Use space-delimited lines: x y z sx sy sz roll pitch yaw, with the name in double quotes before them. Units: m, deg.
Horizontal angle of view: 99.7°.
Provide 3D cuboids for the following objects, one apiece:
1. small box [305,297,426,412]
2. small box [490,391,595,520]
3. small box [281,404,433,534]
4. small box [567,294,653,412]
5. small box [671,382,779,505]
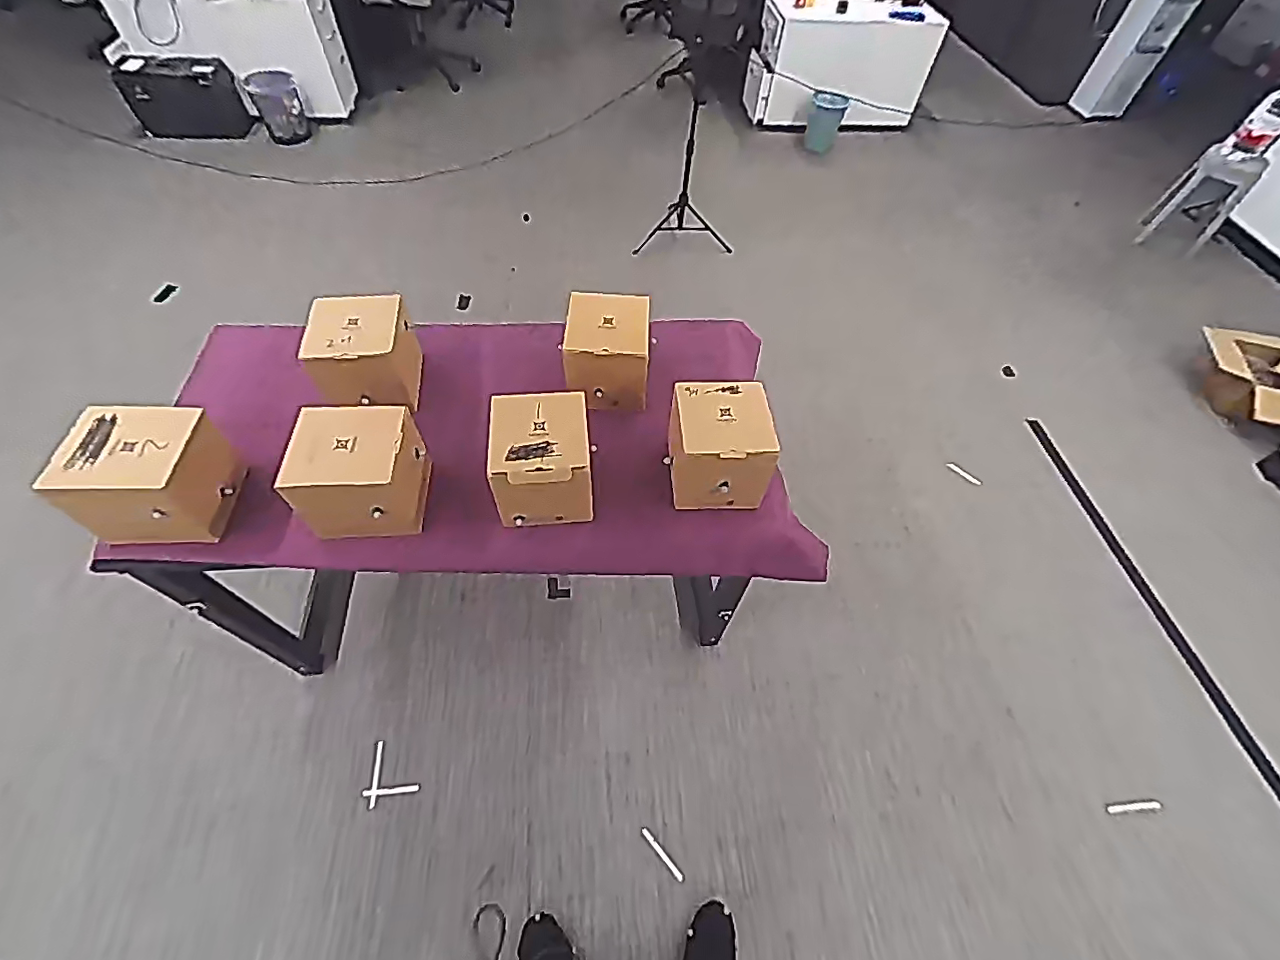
"small box" -0.548 -0.250 1.108 0.168 0.176 0.179 -5 56 -7
"small box" -0.170 -0.038 0.982 0.168 0.176 0.179 -3 55 -6
"small box" -0.476 -0.016 0.947 0.179 0.176 0.168 -2 55 -5
"small box" -0.062 -0.269 1.153 0.168 0.176 0.179 3 57 -1
"small box" 0.150 -0.064 1.018 0.168 0.176 0.179 0 54 -3
